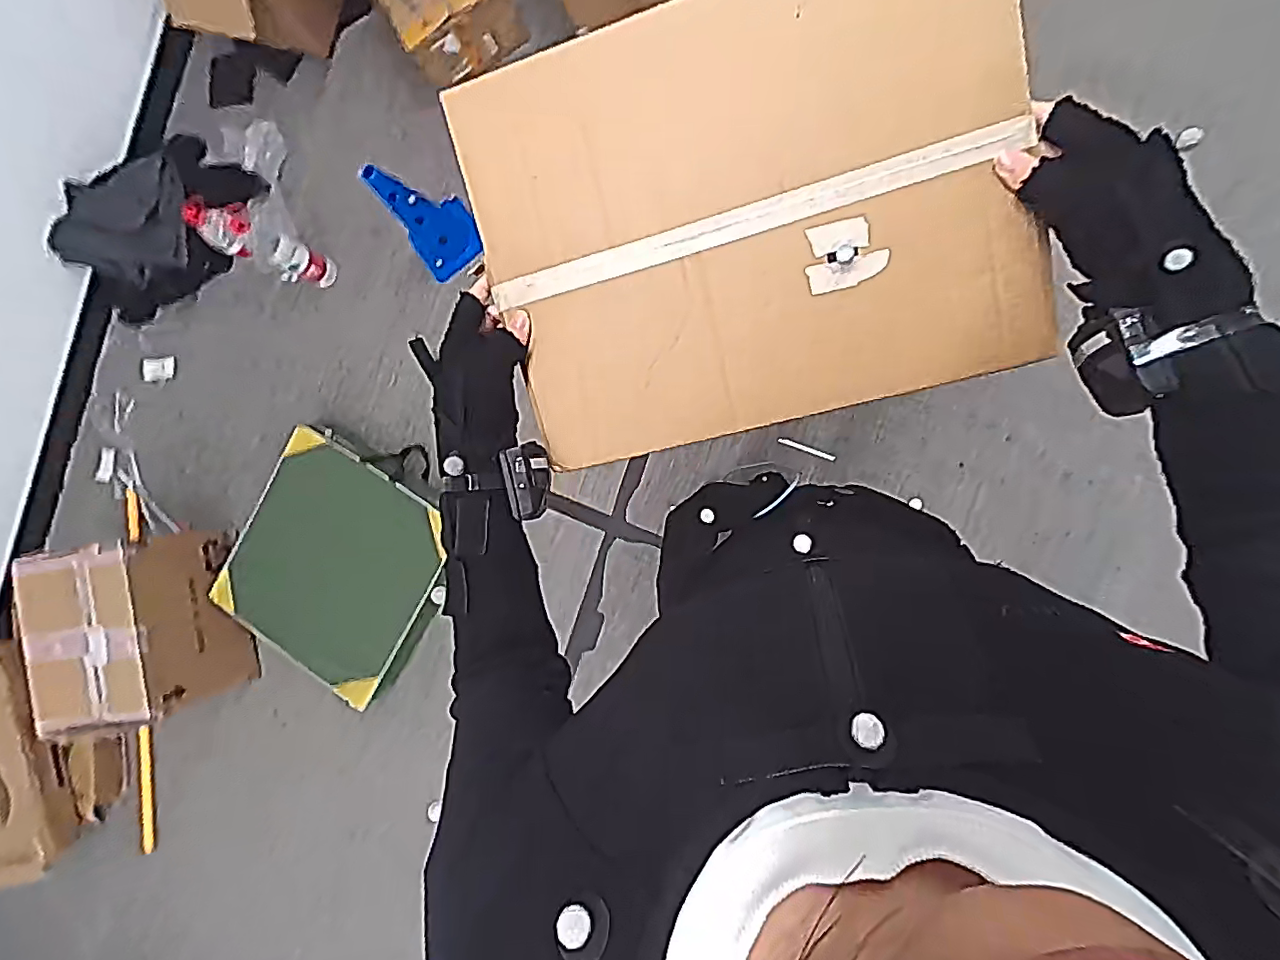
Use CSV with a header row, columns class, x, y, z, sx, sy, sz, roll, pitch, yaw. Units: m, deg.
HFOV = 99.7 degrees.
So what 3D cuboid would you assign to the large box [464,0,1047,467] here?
class,x,y,z,sx,sy,sz,roll,pitch,yaw
large box,0.103,-0.231,0.567,0.408,0.320,0.320,-13,101,11
